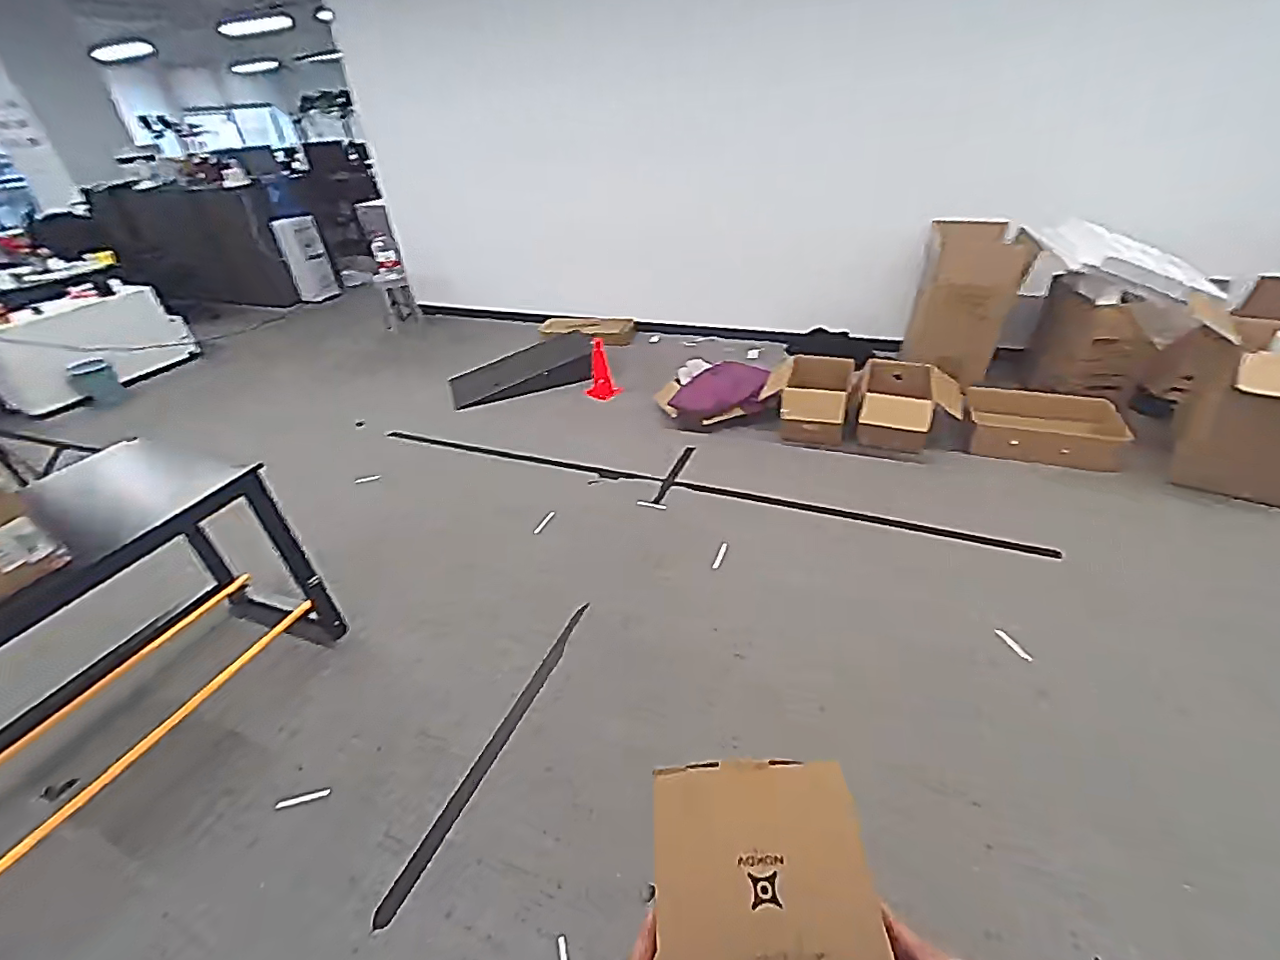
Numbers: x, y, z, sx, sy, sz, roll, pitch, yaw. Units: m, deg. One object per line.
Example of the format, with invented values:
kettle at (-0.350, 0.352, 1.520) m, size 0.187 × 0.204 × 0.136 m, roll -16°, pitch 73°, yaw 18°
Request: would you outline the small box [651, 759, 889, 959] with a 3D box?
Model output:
small box at (0.093, 0.364, 0.463) m, size 0.168 × 0.176 × 0.179 m, roll -3°, pitch 42°, yaw 1°
